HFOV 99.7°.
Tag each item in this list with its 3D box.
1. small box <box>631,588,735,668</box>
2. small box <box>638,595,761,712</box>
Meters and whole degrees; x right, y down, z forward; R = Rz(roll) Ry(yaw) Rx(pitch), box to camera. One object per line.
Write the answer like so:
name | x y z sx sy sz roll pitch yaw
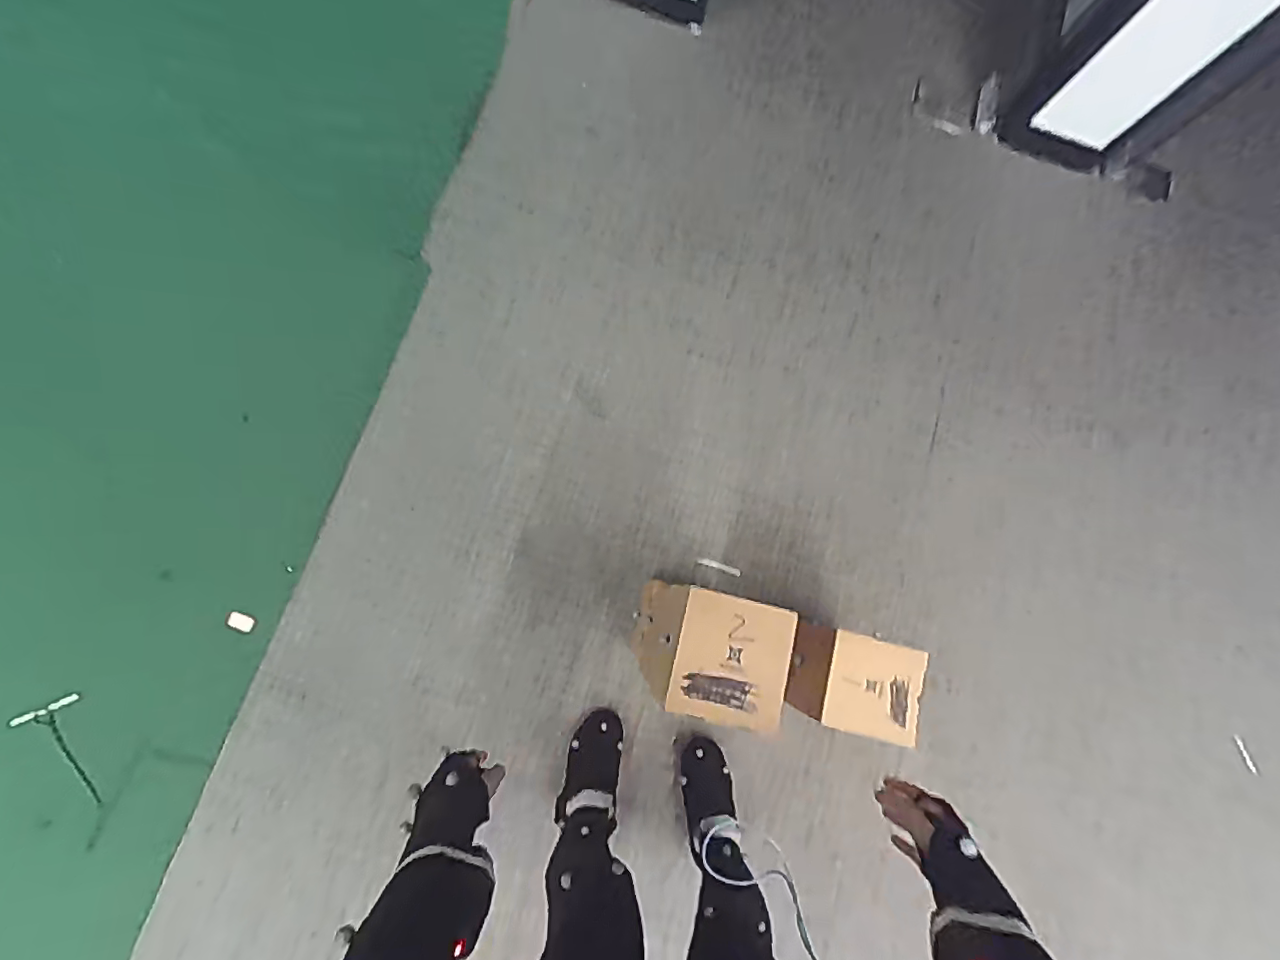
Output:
small box | 0.086 0.332 1.171 0.179 0.176 0.168 14 78 -3
small box | 0.104 0.312 1.010 0.179 0.176 0.168 15 78 -3
